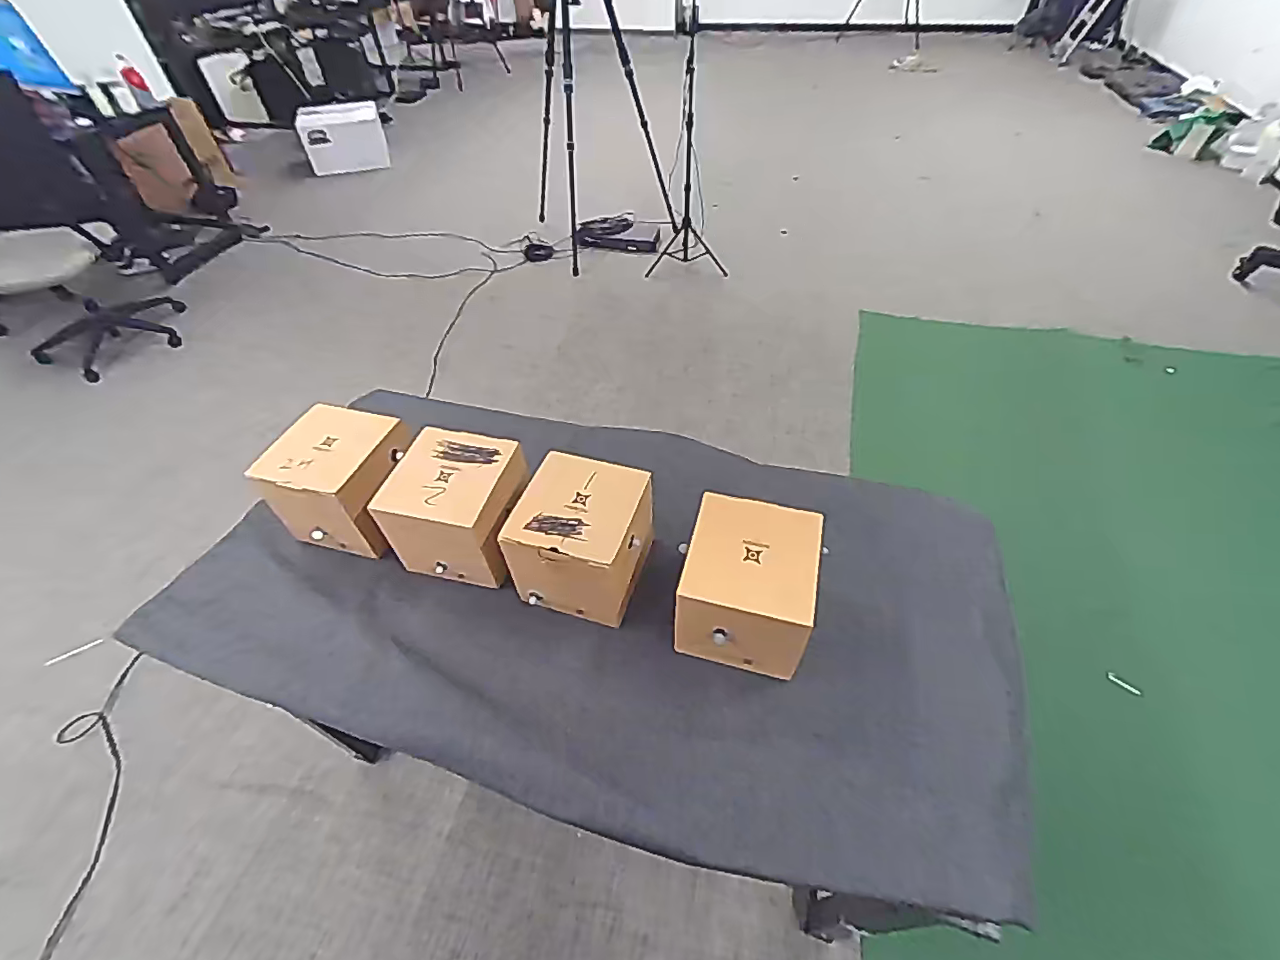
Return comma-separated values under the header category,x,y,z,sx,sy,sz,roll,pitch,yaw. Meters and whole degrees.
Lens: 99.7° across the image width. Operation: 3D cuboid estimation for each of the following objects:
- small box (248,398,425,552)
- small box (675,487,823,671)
category,x,y,z,sx,sy,sz,roll,pitch,yaw
small box,-0.489,-0.008,0.909,0.168,0.176,0.179,11,50,12
small box,0.149,0.140,0.754,0.168,0.176,0.179,11,50,12
